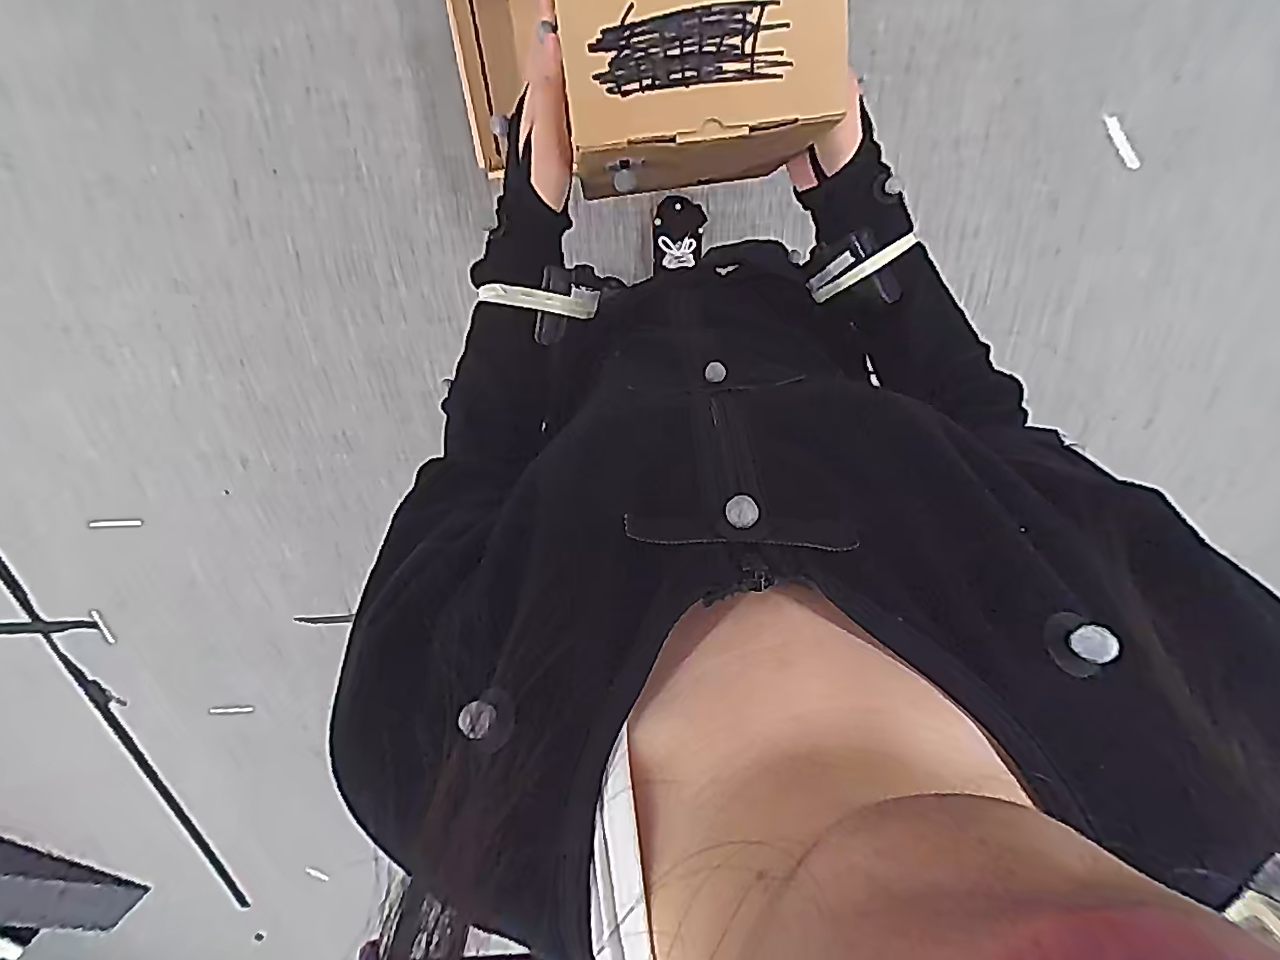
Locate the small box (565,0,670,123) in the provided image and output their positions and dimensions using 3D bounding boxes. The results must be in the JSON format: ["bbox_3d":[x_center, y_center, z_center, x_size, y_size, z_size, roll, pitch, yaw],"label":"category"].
[{"bbox_3d":[-0.041,-0.815,1.044,0.168,0.176,0.179,-10,118,4],"label":"small box"}]
